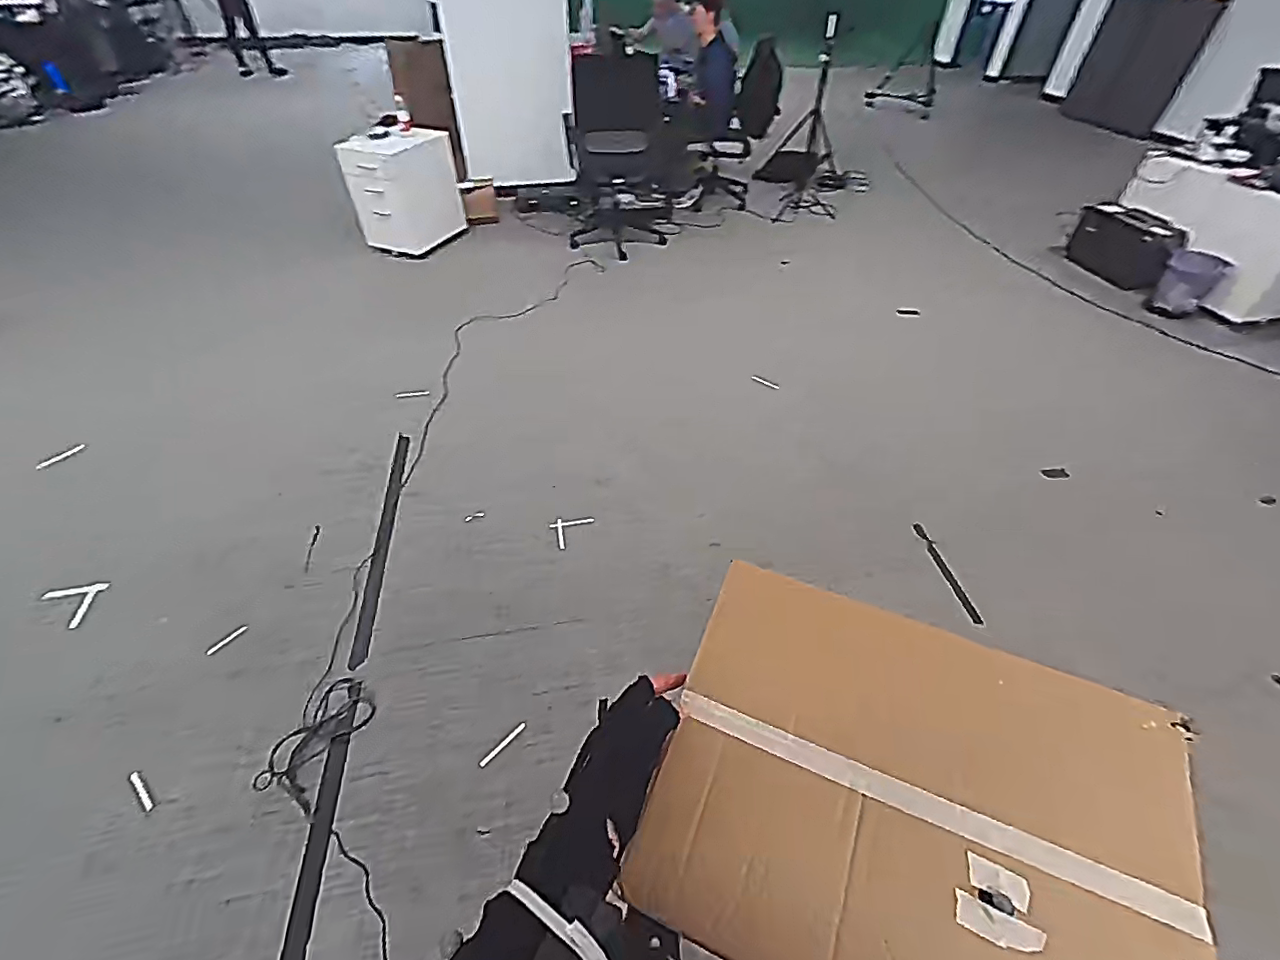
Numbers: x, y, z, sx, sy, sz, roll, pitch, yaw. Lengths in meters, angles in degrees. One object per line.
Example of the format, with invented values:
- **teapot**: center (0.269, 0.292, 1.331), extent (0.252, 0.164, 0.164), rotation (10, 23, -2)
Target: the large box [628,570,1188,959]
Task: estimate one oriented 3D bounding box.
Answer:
- **large box**: center (0.234, 0.354, 0.582), extent (0.408, 0.320, 0.320), rotation (18, 58, 16)
